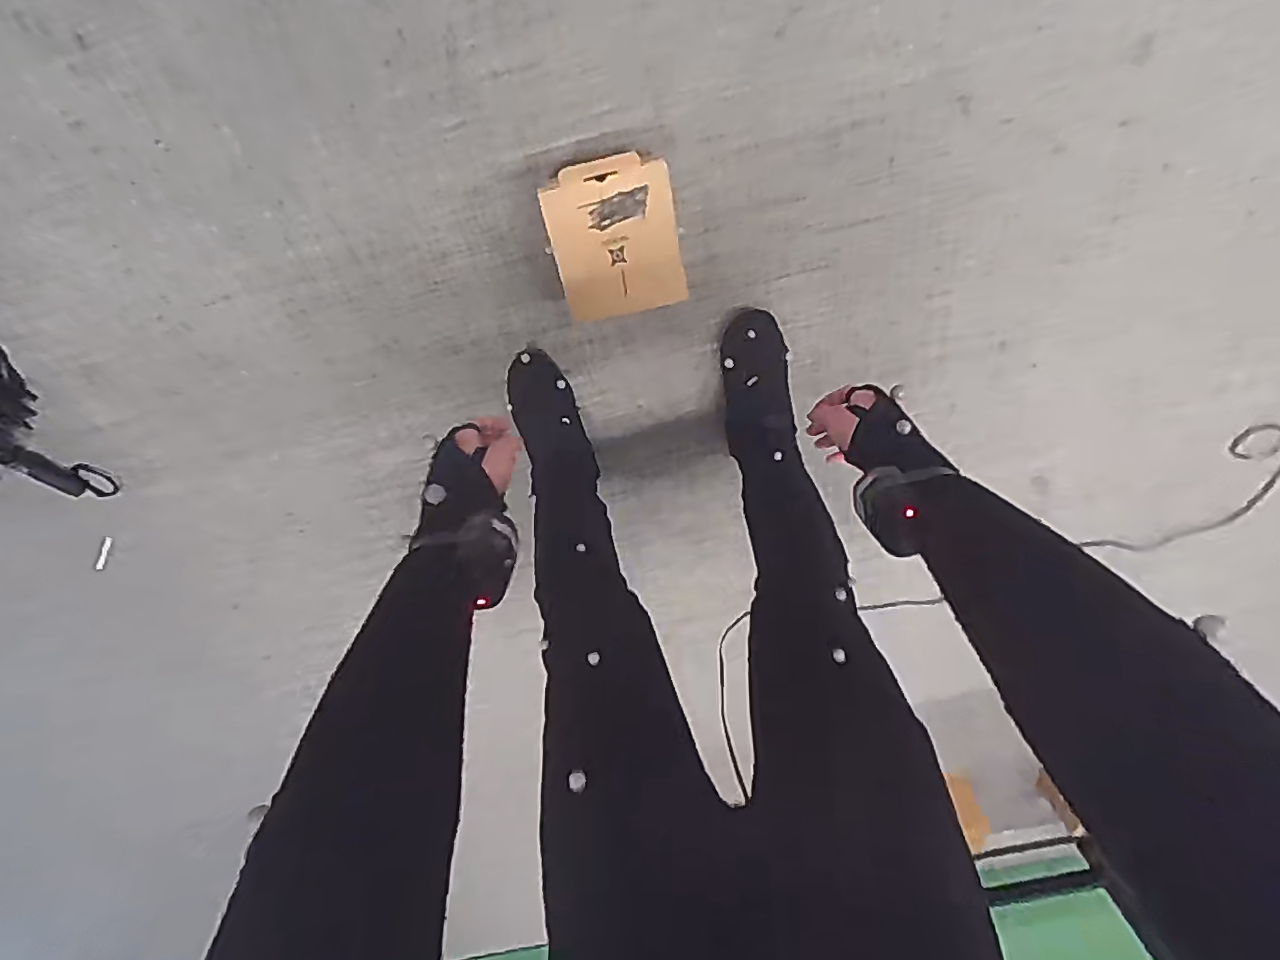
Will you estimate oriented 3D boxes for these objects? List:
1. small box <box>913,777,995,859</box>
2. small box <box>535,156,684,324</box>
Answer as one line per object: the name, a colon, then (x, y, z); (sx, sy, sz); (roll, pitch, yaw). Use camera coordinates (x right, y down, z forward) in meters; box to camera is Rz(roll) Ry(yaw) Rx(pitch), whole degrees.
small box: (0.998, 1.076, 1.735); (0.168, 0.176, 0.179); (-11, 124, 5)
small box: (-0.040, -0.347, 0.773); (0.168, 0.176, 0.179); (-12, 123, 5)
